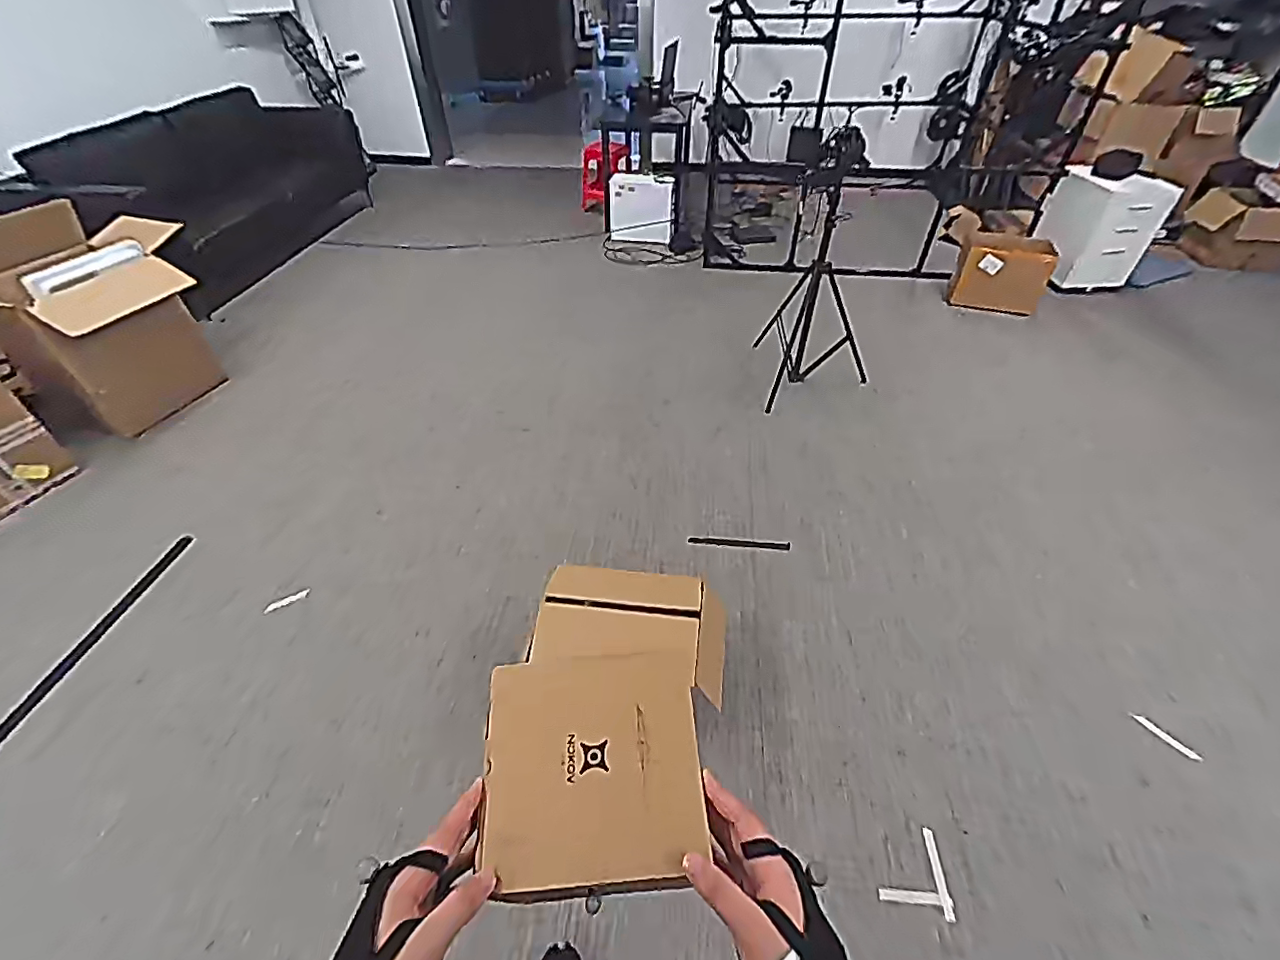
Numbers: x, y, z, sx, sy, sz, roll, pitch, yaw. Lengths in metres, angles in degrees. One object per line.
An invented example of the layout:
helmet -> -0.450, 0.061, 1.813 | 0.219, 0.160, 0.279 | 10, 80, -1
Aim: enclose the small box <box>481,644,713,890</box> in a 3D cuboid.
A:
small box -> -0.033, 0.272, 0.507 | 0.179, 0.176, 0.168 | -6, 51, -1
